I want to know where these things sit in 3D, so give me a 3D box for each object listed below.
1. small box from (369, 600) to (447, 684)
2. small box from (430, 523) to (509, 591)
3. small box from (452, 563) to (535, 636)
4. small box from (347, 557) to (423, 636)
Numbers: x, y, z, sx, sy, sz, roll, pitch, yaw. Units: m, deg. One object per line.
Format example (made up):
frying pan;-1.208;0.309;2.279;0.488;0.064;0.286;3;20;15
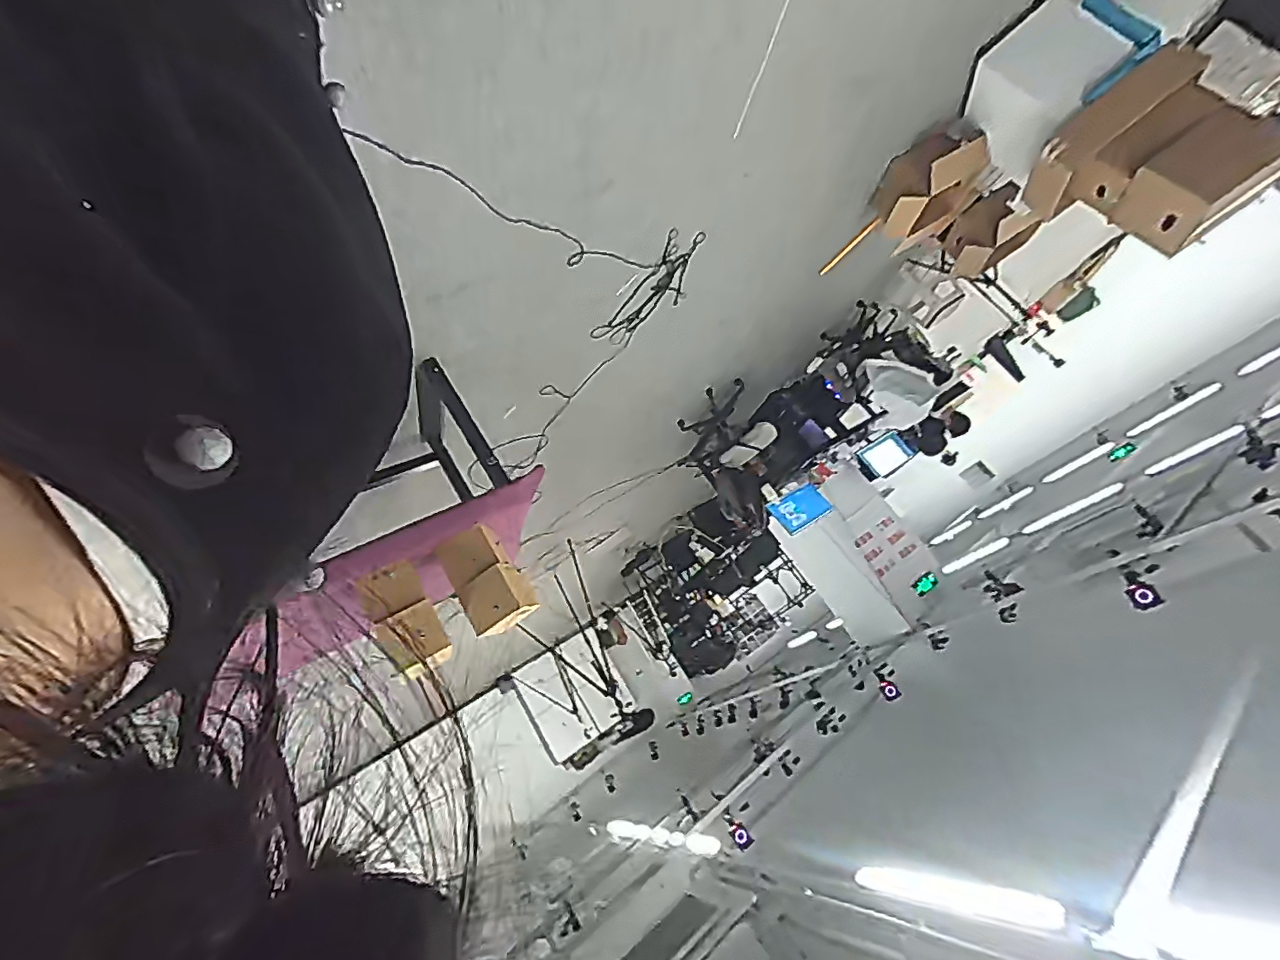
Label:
small box;-0.705;0.488;1.642;0.168;0.176;0.179;-26;164;-32
small box;-0.581;0.268;1.847;0.179;0.176;0.168;-33;164;-7
small box;-0.484;0.390;1.790;0.179;0.176;0.168;-35;164;5
small box;-0.799;0.368;1.701;0.168;0.176;0.179;-26;162;-32
